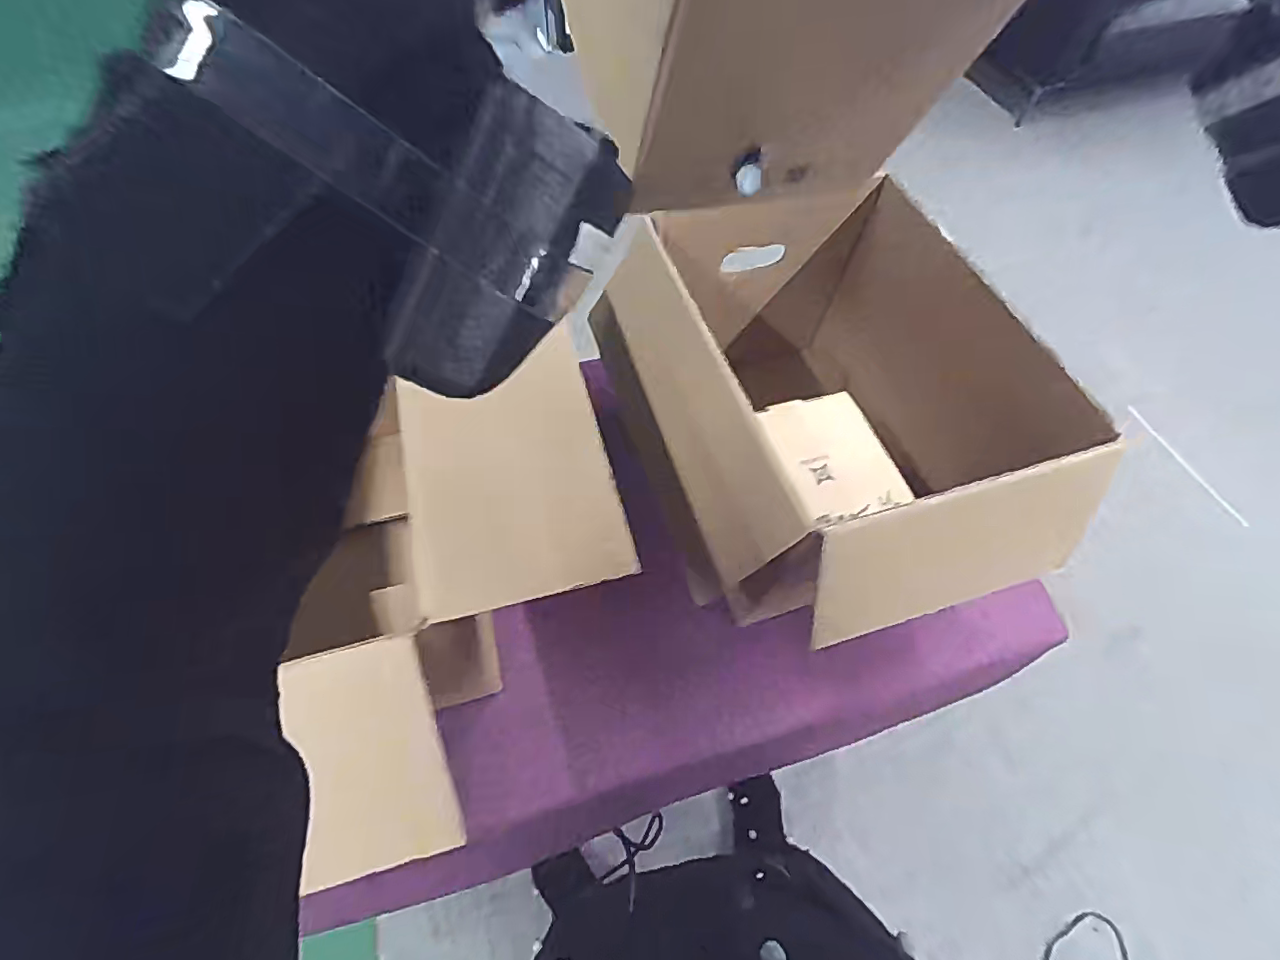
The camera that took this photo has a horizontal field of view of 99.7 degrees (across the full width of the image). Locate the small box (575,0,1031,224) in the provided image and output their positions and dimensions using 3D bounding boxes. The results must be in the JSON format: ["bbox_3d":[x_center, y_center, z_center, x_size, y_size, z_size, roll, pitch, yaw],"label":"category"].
[{"bbox_3d":[0.065,-0.267,0.280,0.168,0.176,0.179,-12,83,-12],"label":"small box"}]
